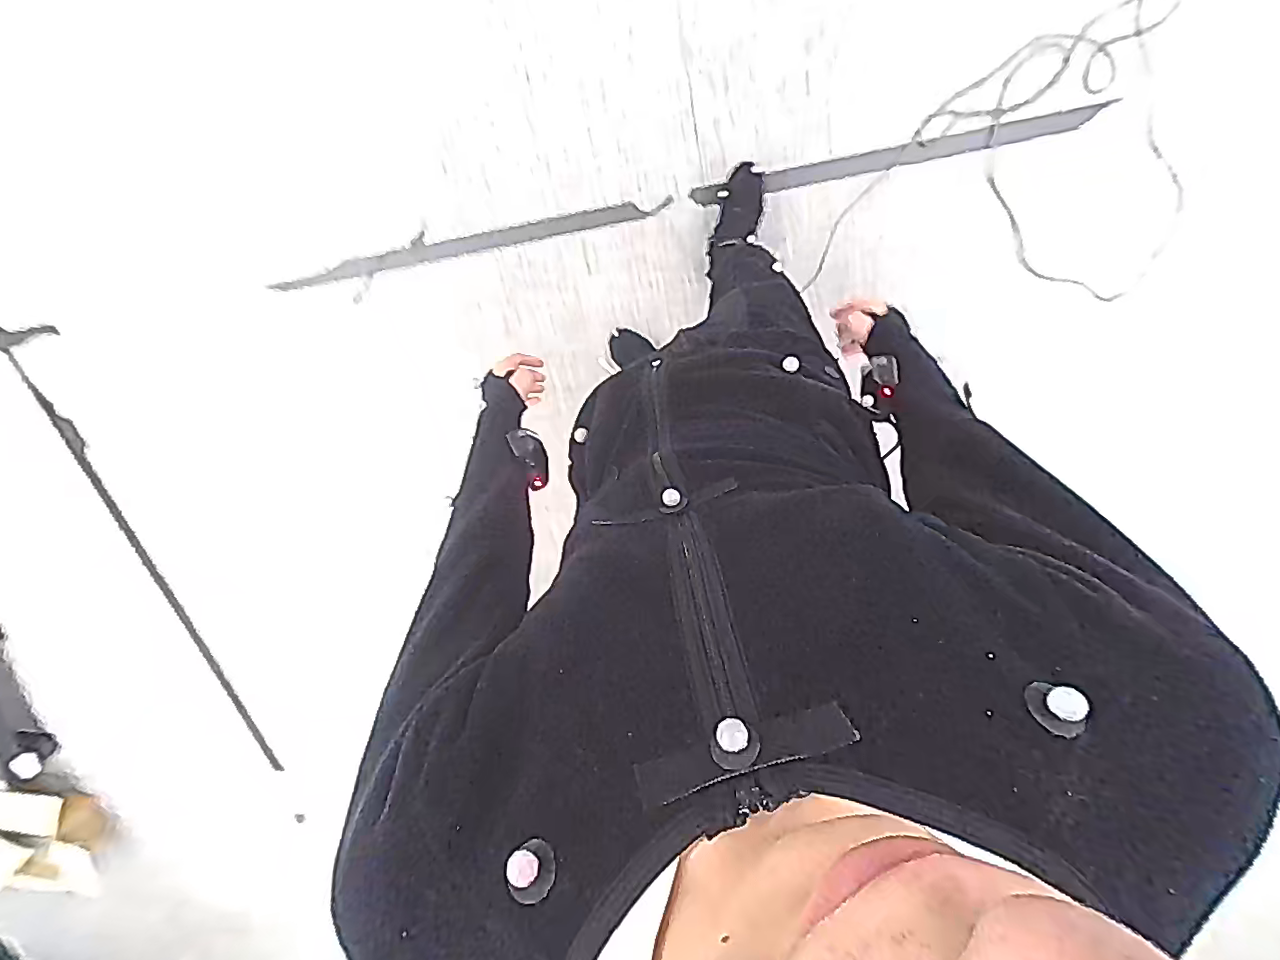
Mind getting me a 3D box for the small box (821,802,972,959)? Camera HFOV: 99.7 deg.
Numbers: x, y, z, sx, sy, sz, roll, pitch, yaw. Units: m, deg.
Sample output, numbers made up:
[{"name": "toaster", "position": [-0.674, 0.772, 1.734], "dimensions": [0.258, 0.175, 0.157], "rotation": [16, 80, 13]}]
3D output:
[{"name": "small box", "position": [0.419, 0.668, 0.900], "dimensions": [0.179, 0.176, 0.168], "rotation": [-12, 112, 6]}]
